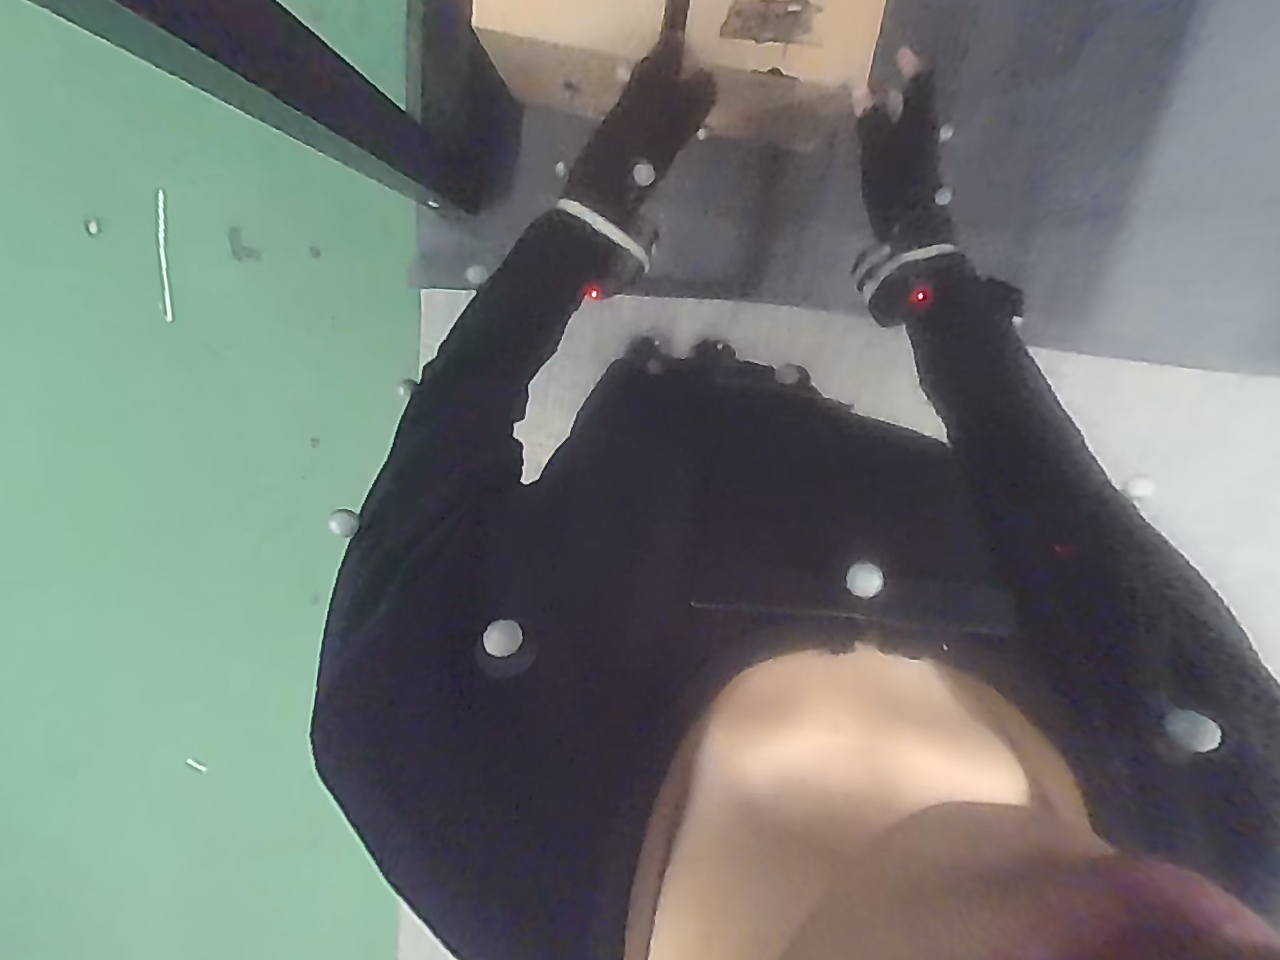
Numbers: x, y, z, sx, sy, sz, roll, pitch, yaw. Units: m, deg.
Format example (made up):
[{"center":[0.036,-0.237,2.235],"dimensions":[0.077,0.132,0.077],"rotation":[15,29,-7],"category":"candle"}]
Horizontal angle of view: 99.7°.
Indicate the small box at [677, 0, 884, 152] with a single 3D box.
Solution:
[{"center":[0.130,-0.448,0.527],"dimensions":[0.168,0.176,0.179],"rotation":[9,104,-1],"category":"small box"}]
